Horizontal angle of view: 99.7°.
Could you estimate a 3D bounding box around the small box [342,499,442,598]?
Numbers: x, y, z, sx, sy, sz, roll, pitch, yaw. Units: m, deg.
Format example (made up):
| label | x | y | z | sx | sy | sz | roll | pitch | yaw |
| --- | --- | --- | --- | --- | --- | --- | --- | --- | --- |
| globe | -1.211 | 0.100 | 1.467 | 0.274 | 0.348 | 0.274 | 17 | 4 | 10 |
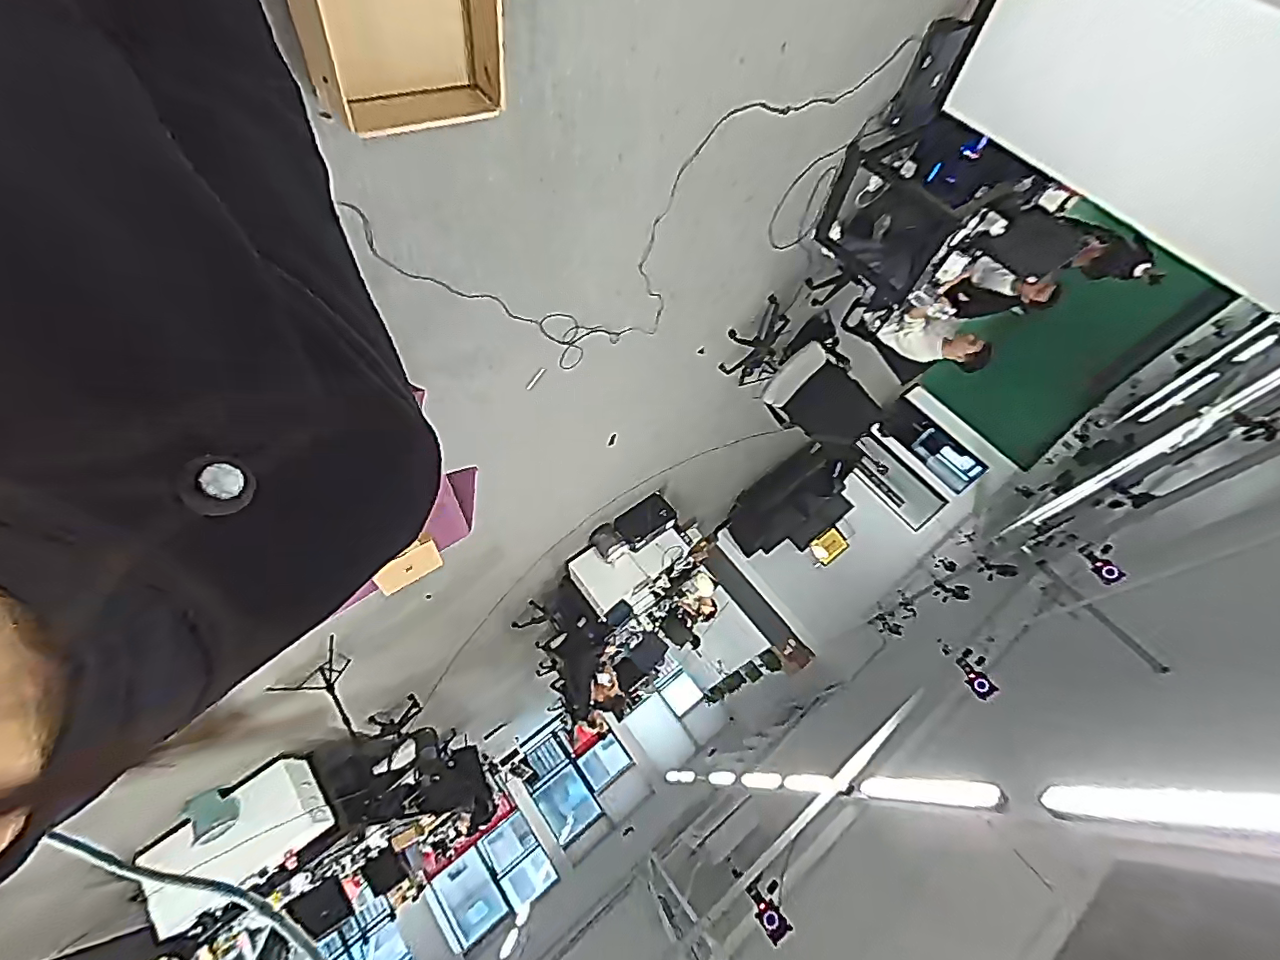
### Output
| label | x | y | z | sx | sy | sz | roll | pitch | yaw |
| --- | --- | --- | --- | --- | --- | --- | --- | --- | --- |
| small box | -0.647 | 0.174 | 1.418 | 0.168 | 0.176 | 0.179 | -31 | 158 | -25 |
